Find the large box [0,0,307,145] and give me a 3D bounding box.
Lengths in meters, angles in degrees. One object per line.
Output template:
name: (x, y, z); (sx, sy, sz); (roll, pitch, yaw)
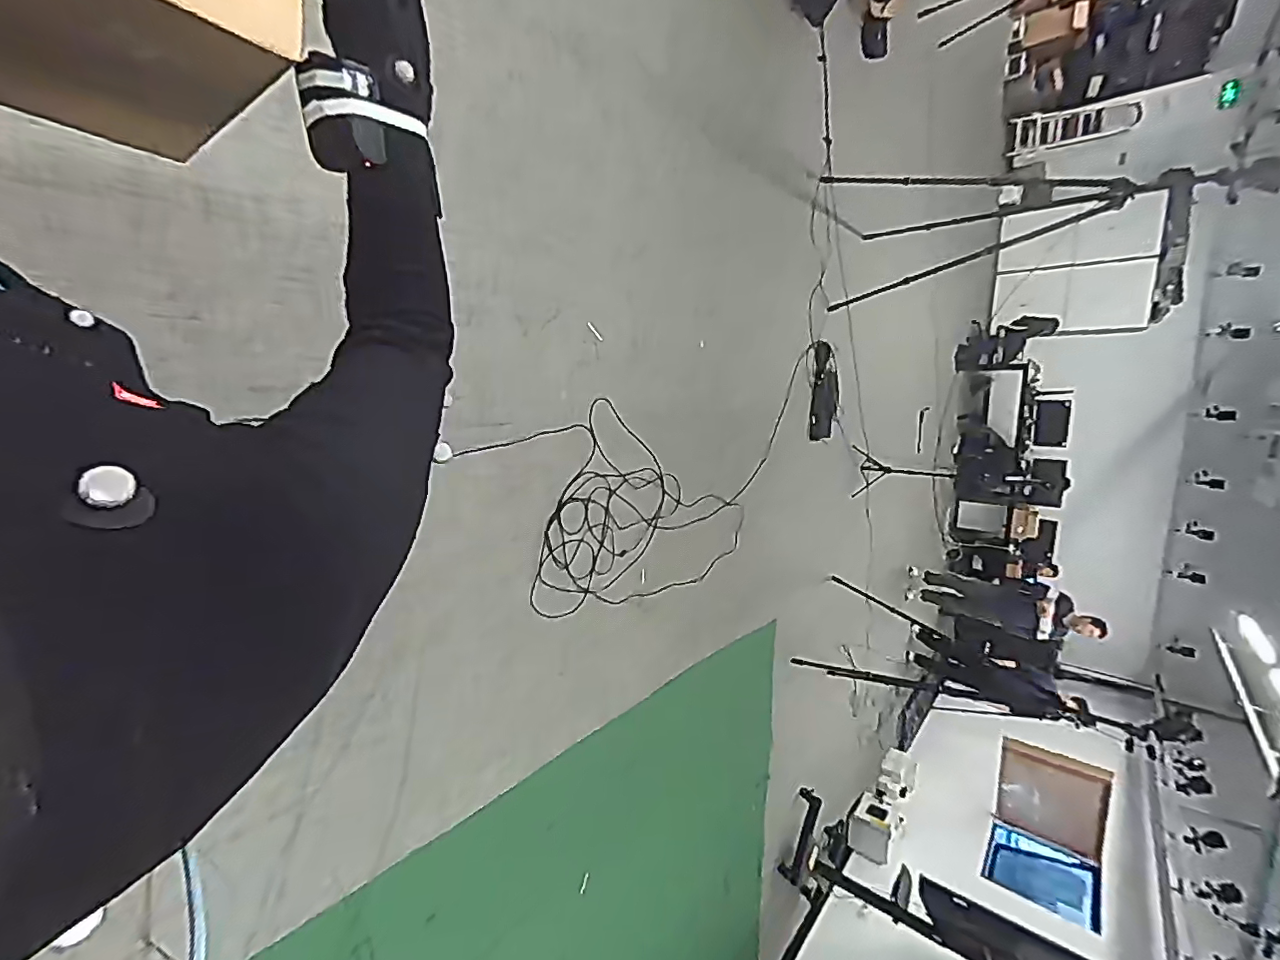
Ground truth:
large box: (-0.455, -0.448, 0.282); (0.408, 0.320, 0.320); (-5, 103, -50)
